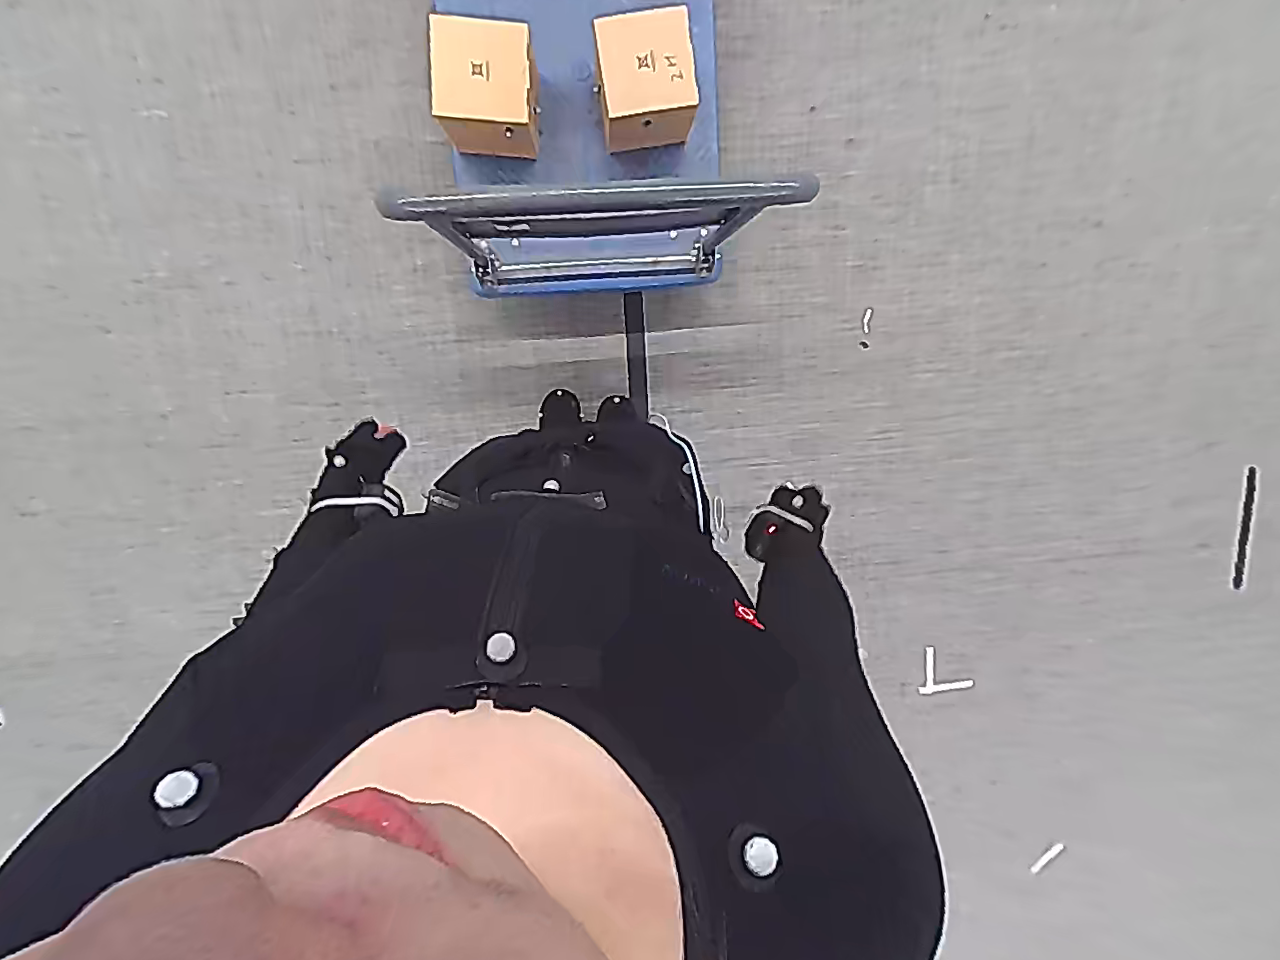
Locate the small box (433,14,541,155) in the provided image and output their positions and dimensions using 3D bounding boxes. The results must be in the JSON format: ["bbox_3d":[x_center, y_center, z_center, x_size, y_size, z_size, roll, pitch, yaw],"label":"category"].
[{"bbox_3d":[-0.292,-0.762,1.061,0.179,0.176,0.168,1,101,-6],"label":"small box"}]

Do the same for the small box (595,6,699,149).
[{"bbox_3d":[0.012,-0.788,1.077,0.179,0.176,0.168,-10,102,-2],"label":"small box"}]
